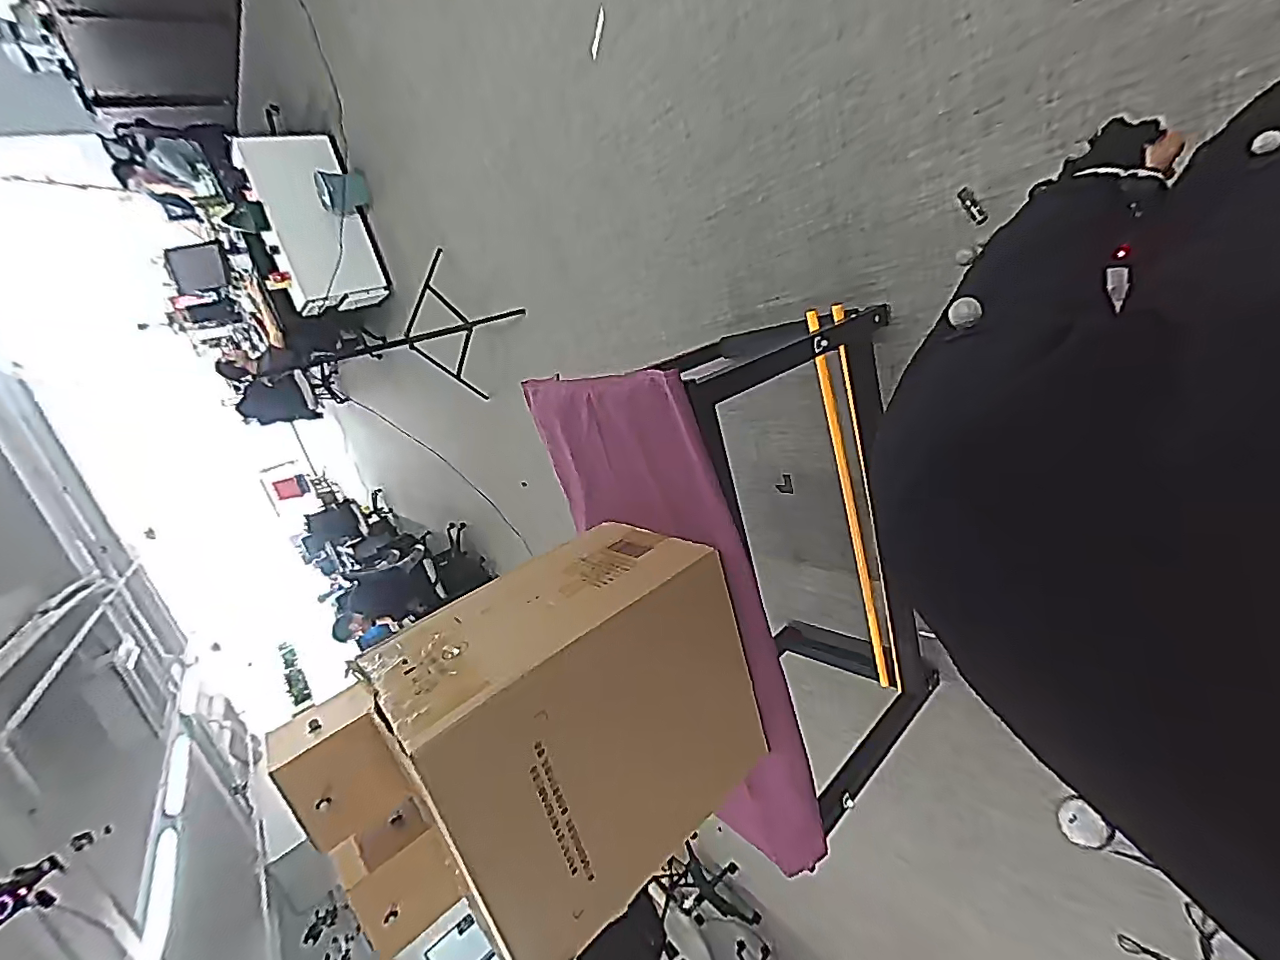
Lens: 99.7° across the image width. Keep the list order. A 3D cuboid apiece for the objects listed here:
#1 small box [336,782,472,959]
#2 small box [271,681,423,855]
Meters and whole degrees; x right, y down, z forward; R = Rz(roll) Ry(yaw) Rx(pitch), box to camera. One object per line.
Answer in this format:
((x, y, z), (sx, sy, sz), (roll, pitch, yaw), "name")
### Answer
((-0.438, 0.713, 1.006), (0.168, 0.176, 0.179), (3, 114, 51), "small box")
((-0.512, 0.488, 0.949), (0.168, 0.176, 0.179), (-1, 114, 54), "small box")
